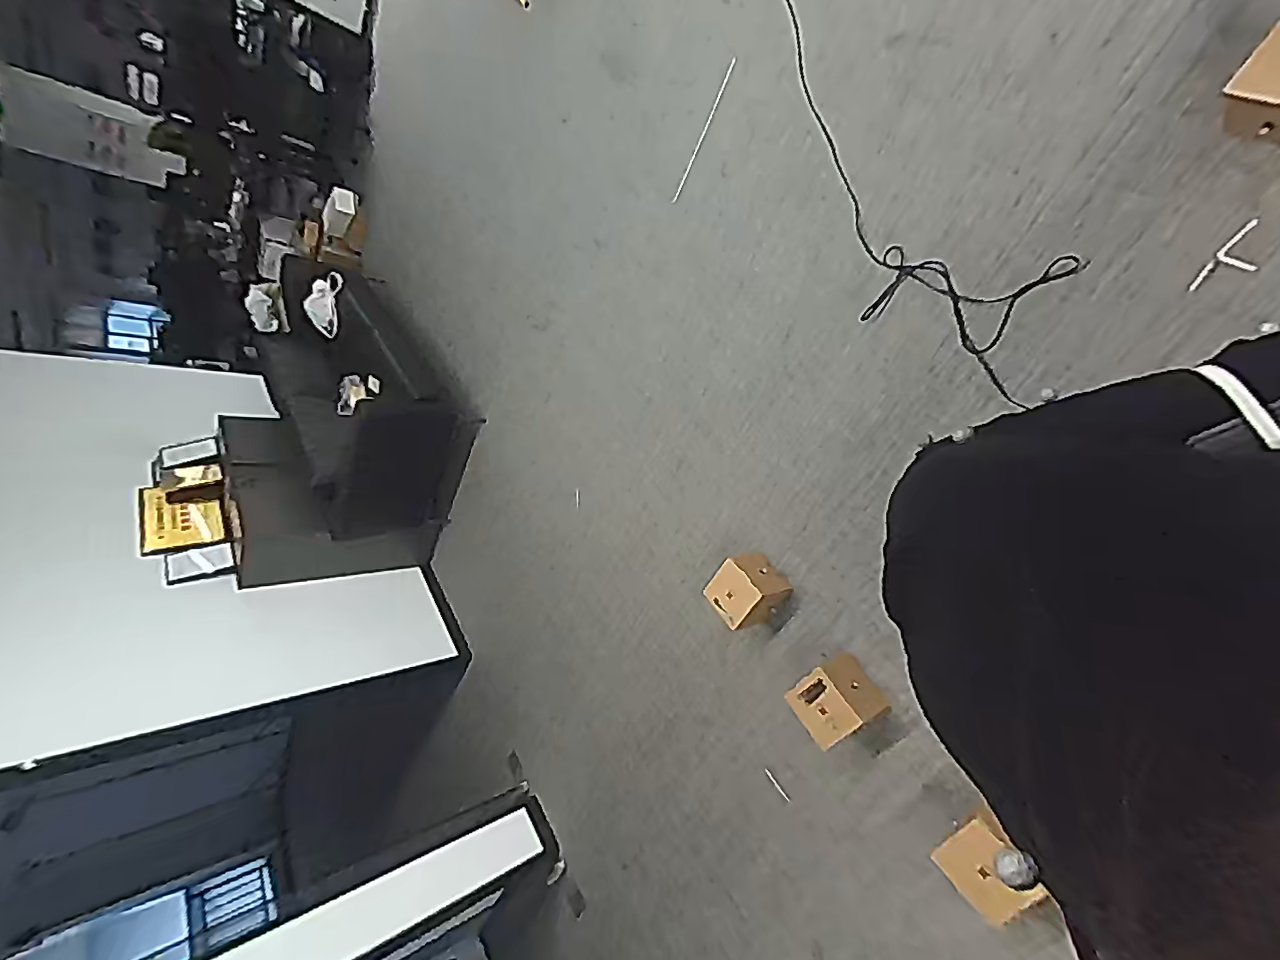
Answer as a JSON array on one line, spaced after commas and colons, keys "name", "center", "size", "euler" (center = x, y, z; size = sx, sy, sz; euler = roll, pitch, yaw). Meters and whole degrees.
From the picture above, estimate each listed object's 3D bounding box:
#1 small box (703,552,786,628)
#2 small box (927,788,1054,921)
[{"name": "small box", "center": [0.347, 0.352, 1.760], "size": [0.168, 0.176, 0.179], "euler": [52, 125, 34]}, {"name": "small box", "center": [0.820, 0.862, 1.260], "size": [0.168, 0.176, 0.179], "euler": [48, 124, 36]}]
